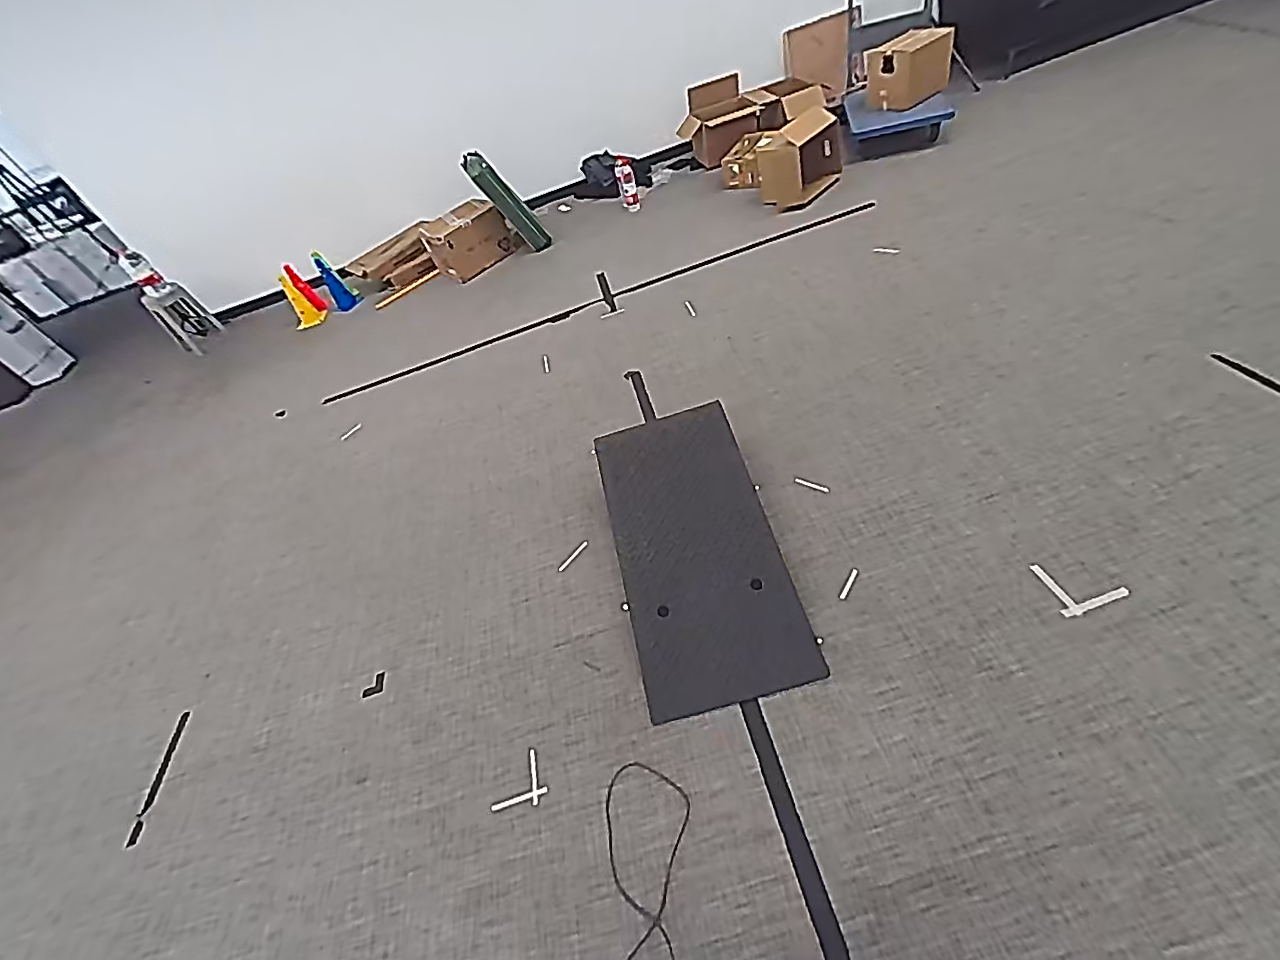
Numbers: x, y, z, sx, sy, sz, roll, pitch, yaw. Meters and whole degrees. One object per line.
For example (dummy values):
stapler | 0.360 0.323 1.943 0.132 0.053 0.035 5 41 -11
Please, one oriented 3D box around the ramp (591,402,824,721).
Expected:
ramp | 0.157 0.183 1.715 0.509 0.206 0.991 -18 46 2
